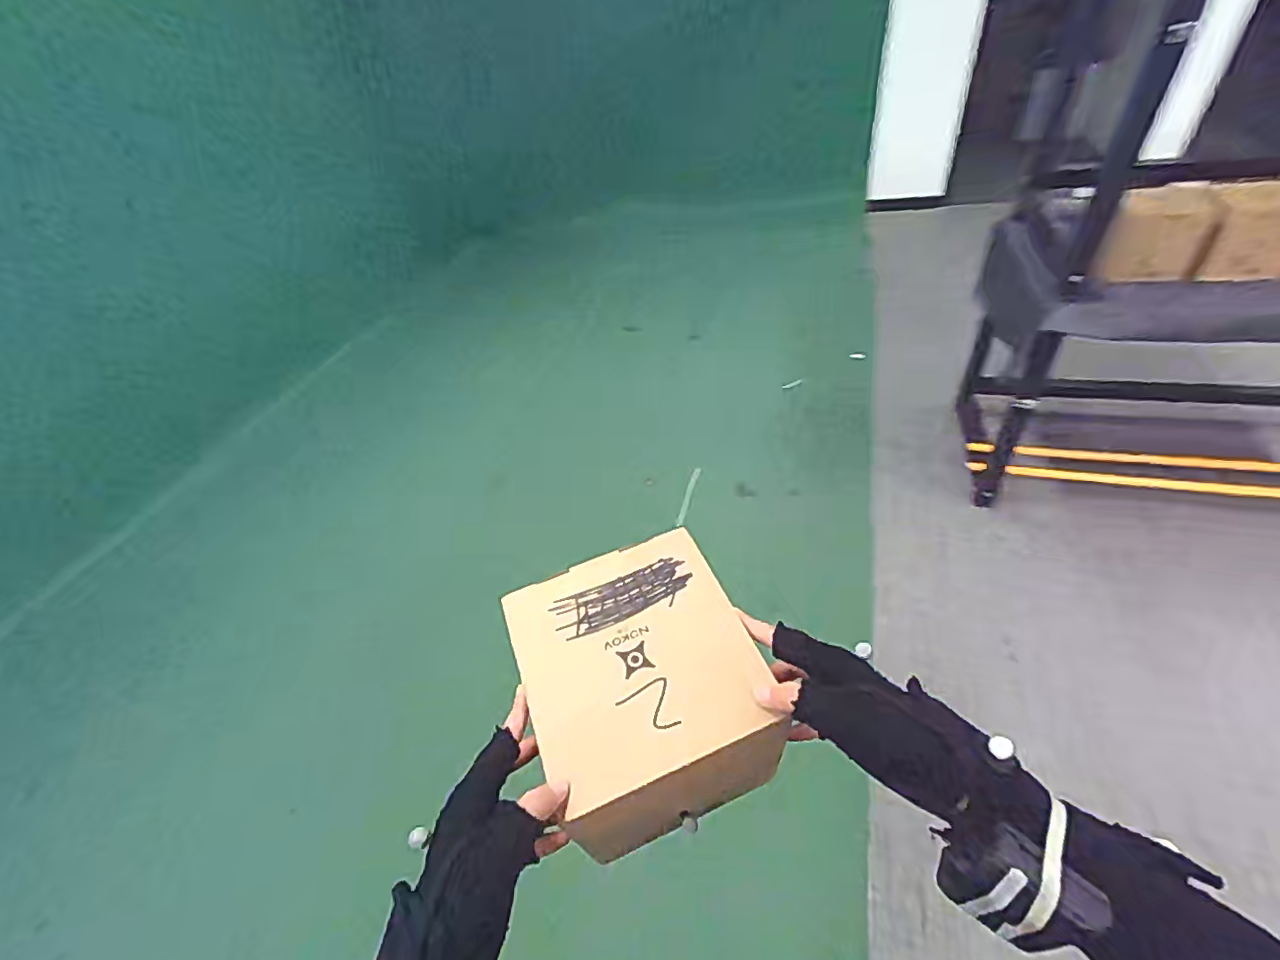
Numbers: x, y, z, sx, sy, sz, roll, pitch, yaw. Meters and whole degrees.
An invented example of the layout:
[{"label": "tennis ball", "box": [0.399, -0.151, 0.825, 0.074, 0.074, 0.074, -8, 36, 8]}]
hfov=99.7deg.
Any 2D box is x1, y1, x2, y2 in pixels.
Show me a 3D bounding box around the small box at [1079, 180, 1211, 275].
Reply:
[{"label": "small box", "box": [1.251, -0.633, 1.360, 0.168, 0.176, 0.179, 4, 46, 16]}]
